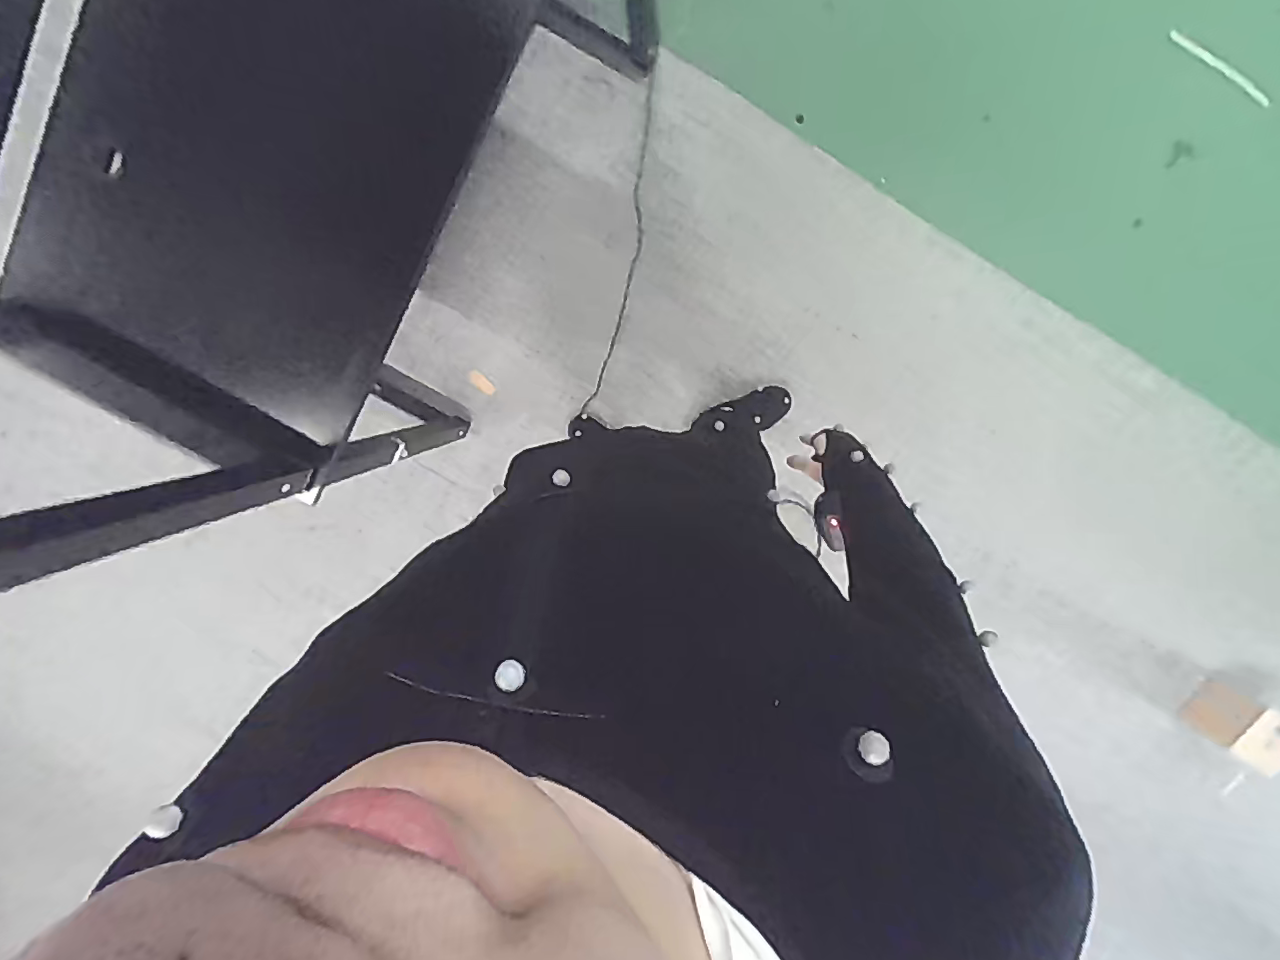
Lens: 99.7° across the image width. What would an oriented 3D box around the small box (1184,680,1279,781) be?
[{"bbox_3d":[1.799,0.733,1.603,0.168,0.176,0.179,30,101,-3],"label":"small box"}]
